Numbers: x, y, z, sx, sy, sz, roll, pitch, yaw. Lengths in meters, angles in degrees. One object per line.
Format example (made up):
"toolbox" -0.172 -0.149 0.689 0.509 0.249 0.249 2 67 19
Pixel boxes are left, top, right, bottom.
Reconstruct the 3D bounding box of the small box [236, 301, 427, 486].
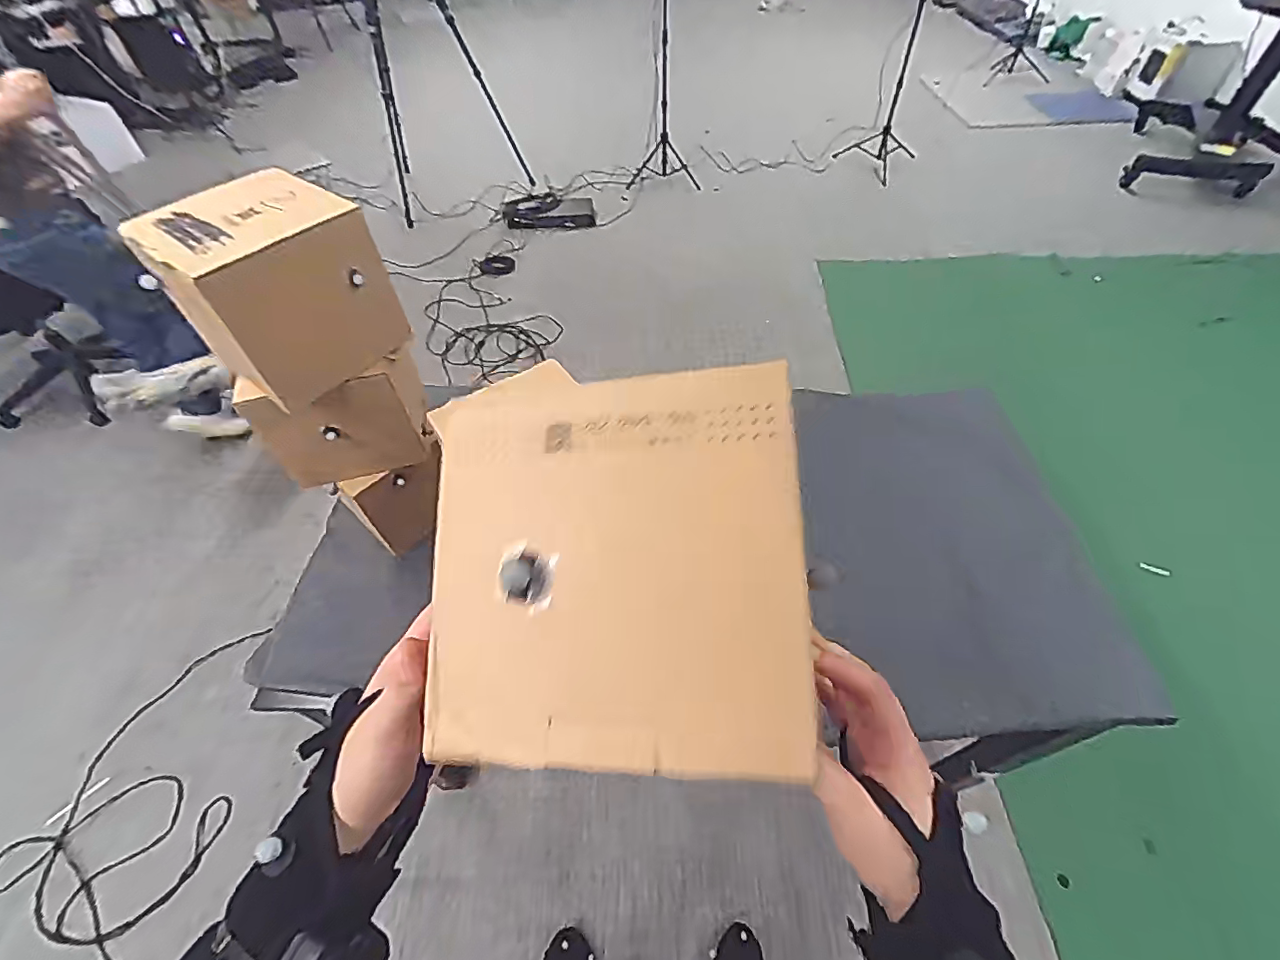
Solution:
"small box" -0.406 -0.116 0.749 0.179 0.176 0.168 -14 53 -8

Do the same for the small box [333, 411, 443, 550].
"small box" -0.400 -0.017 0.881 0.179 0.176 0.168 34 60 26

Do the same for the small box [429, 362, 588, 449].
"small box" -0.120 -0.003 0.648 0.168 0.176 0.179 -29 55 -19
